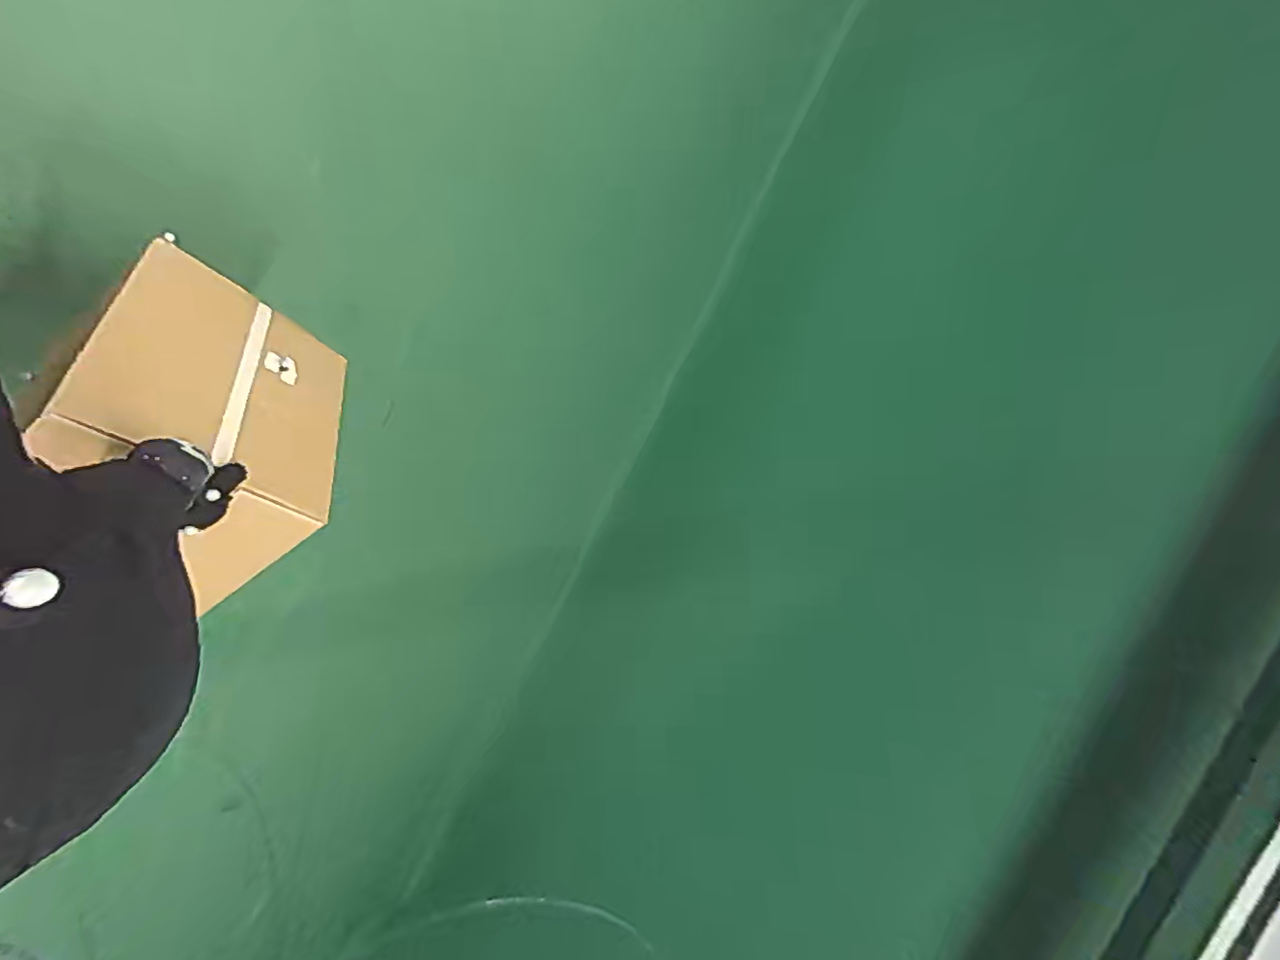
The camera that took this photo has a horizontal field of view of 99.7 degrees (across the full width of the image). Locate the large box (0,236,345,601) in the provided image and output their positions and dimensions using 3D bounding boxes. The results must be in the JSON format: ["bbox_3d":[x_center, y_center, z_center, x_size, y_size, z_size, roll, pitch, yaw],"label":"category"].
[{"bbox_3d":[-0.711,-0.081,0.849,0.320,0.408,0.320,-33,140,15],"label":"large box"}]
